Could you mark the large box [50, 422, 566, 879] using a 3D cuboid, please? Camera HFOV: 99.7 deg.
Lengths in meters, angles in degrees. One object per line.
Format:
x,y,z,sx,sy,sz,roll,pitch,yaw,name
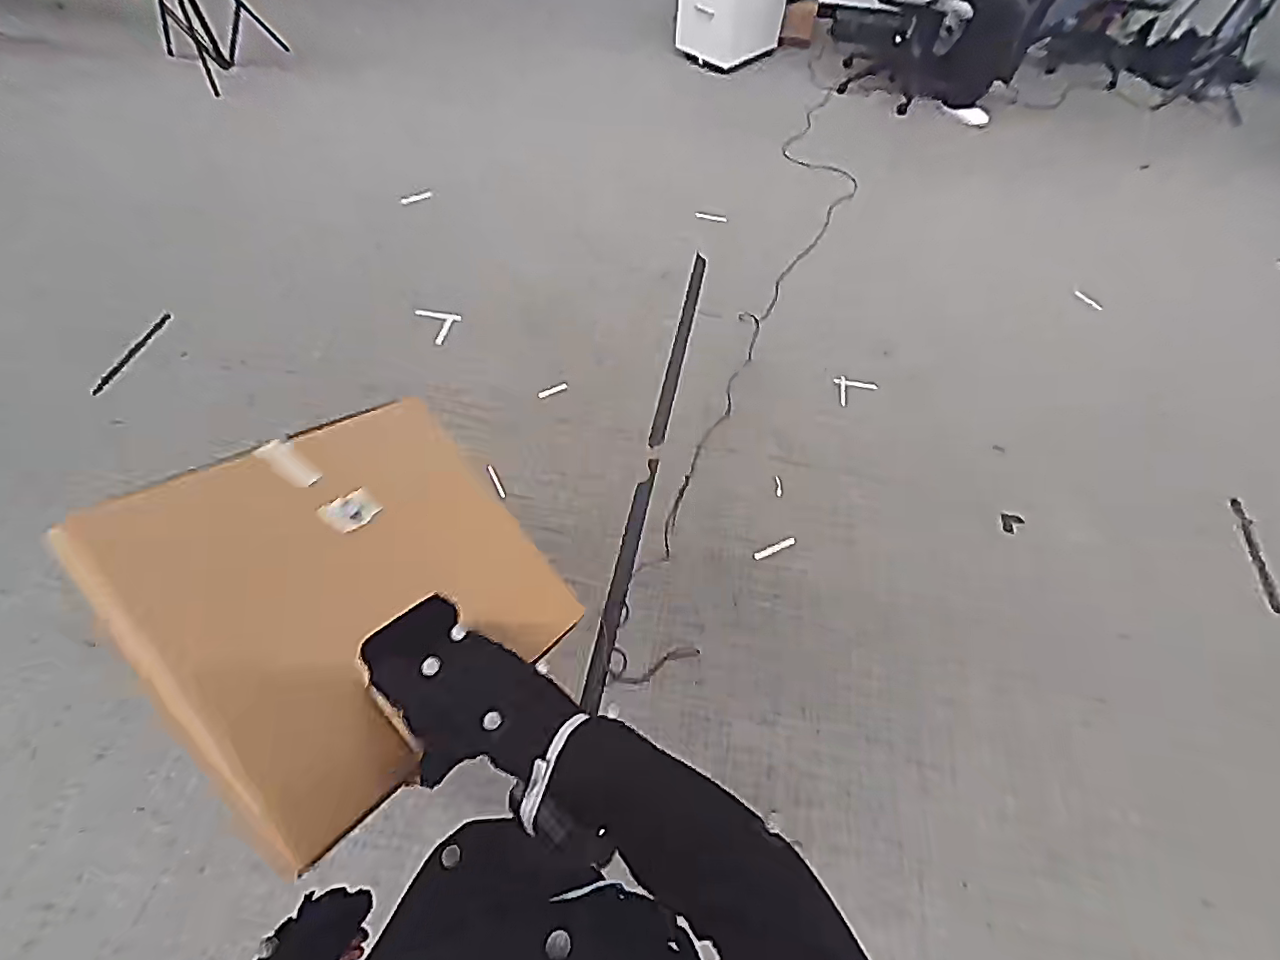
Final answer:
-0.360,0.201,0.635,0.320,0.408,0.320,49,44,3,large box
